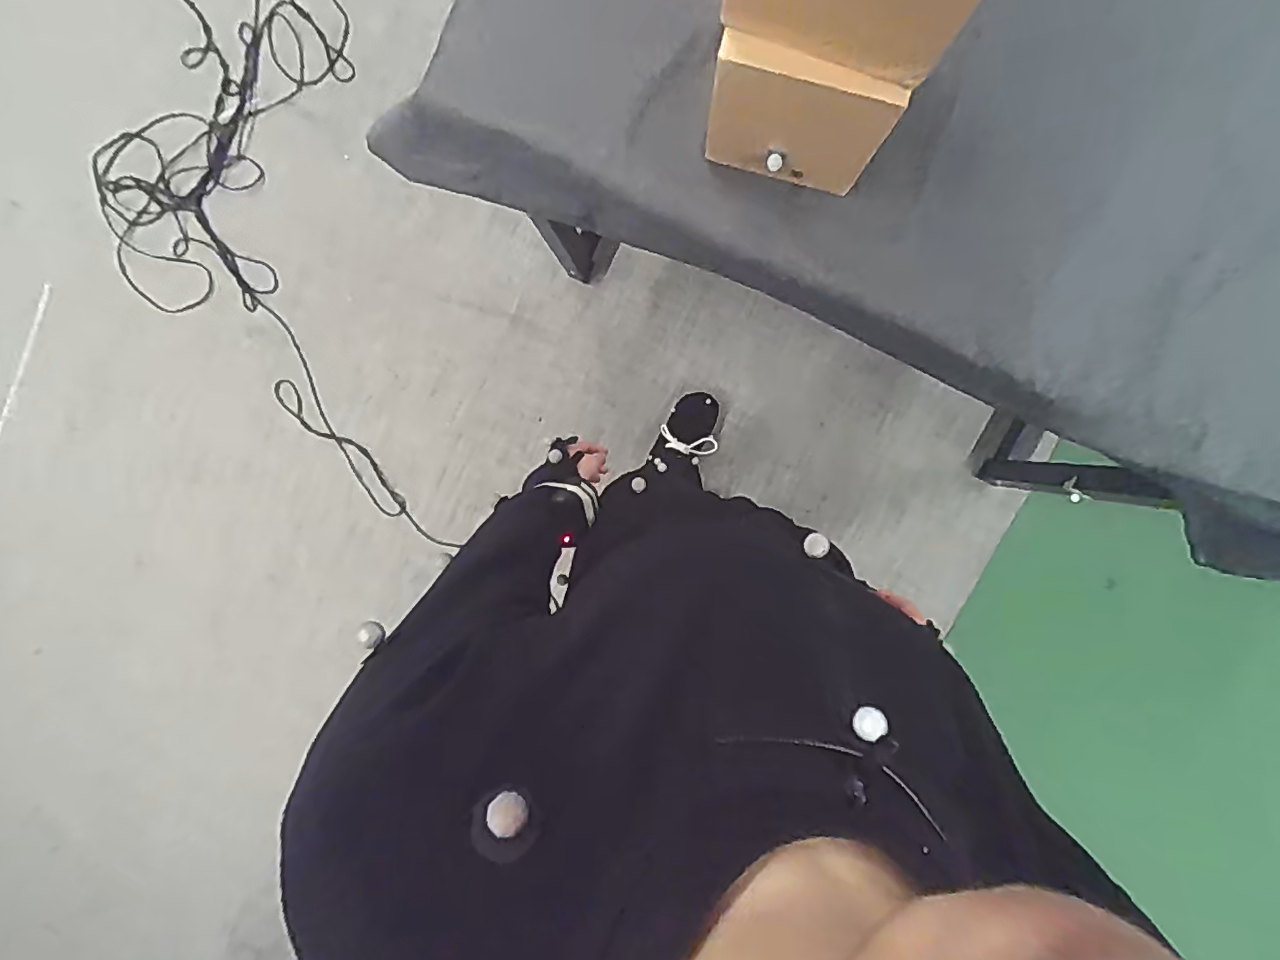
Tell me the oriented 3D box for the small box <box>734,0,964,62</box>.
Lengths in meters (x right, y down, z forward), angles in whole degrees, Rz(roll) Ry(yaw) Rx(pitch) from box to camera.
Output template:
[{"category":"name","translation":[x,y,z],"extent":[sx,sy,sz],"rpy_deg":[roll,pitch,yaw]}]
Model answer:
[{"category":"small box","translation":[0.169,-0.427,0.354],"extent":[0.179,0.176,0.168],"rpy_deg":[20,97,1]}]

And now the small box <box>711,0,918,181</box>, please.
[{"category":"small box","translation":[0.170,-0.428,0.517],"extent":[0.168,0.176,0.179],"rpy_deg":[16,96,3]}]
